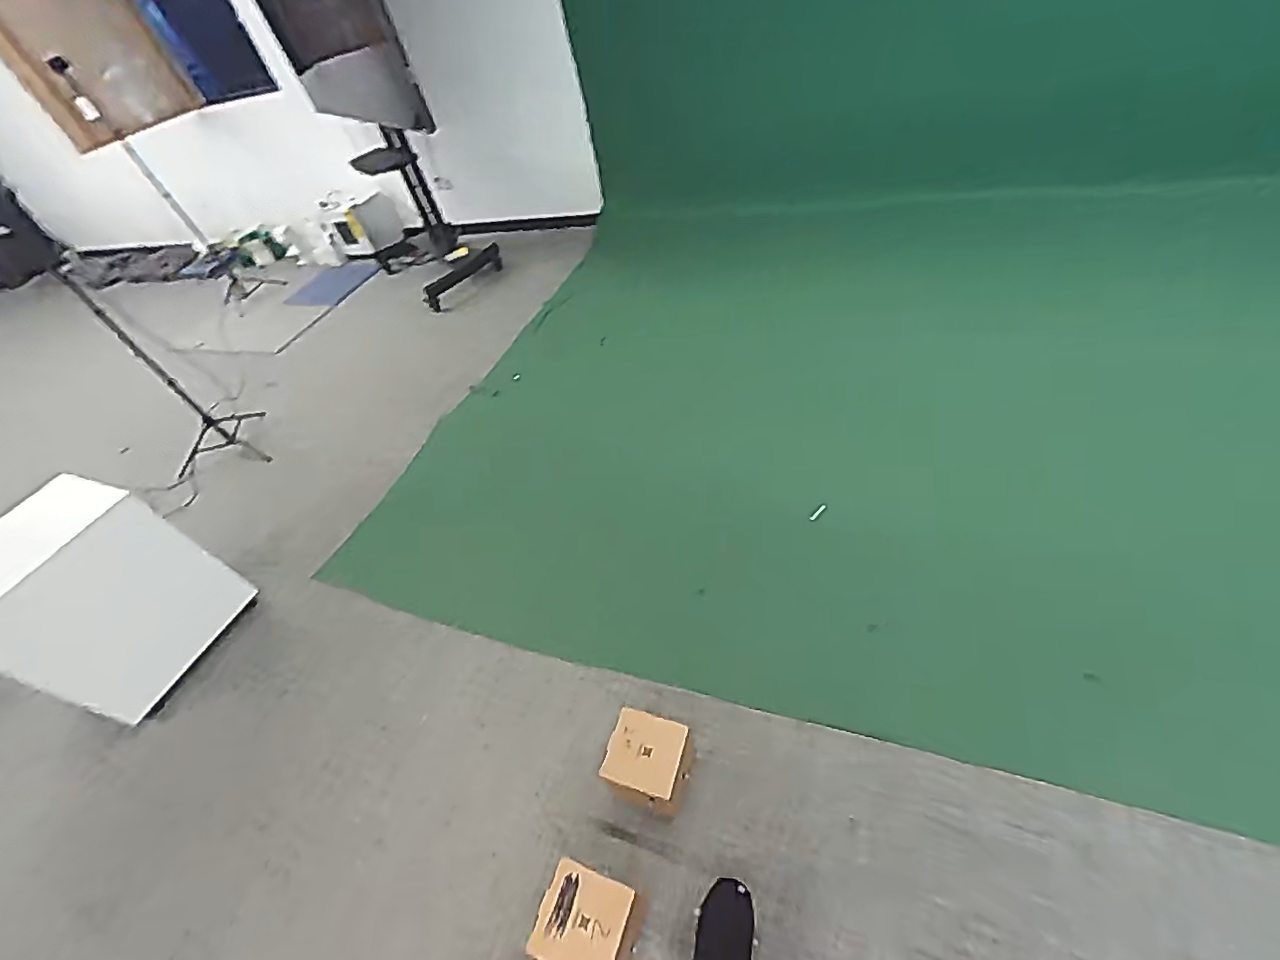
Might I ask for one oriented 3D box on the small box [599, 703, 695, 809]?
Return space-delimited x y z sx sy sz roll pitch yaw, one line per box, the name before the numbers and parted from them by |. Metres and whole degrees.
small box | 0.026 0.673 1.314 0.179 0.176 0.168 8 50 21
